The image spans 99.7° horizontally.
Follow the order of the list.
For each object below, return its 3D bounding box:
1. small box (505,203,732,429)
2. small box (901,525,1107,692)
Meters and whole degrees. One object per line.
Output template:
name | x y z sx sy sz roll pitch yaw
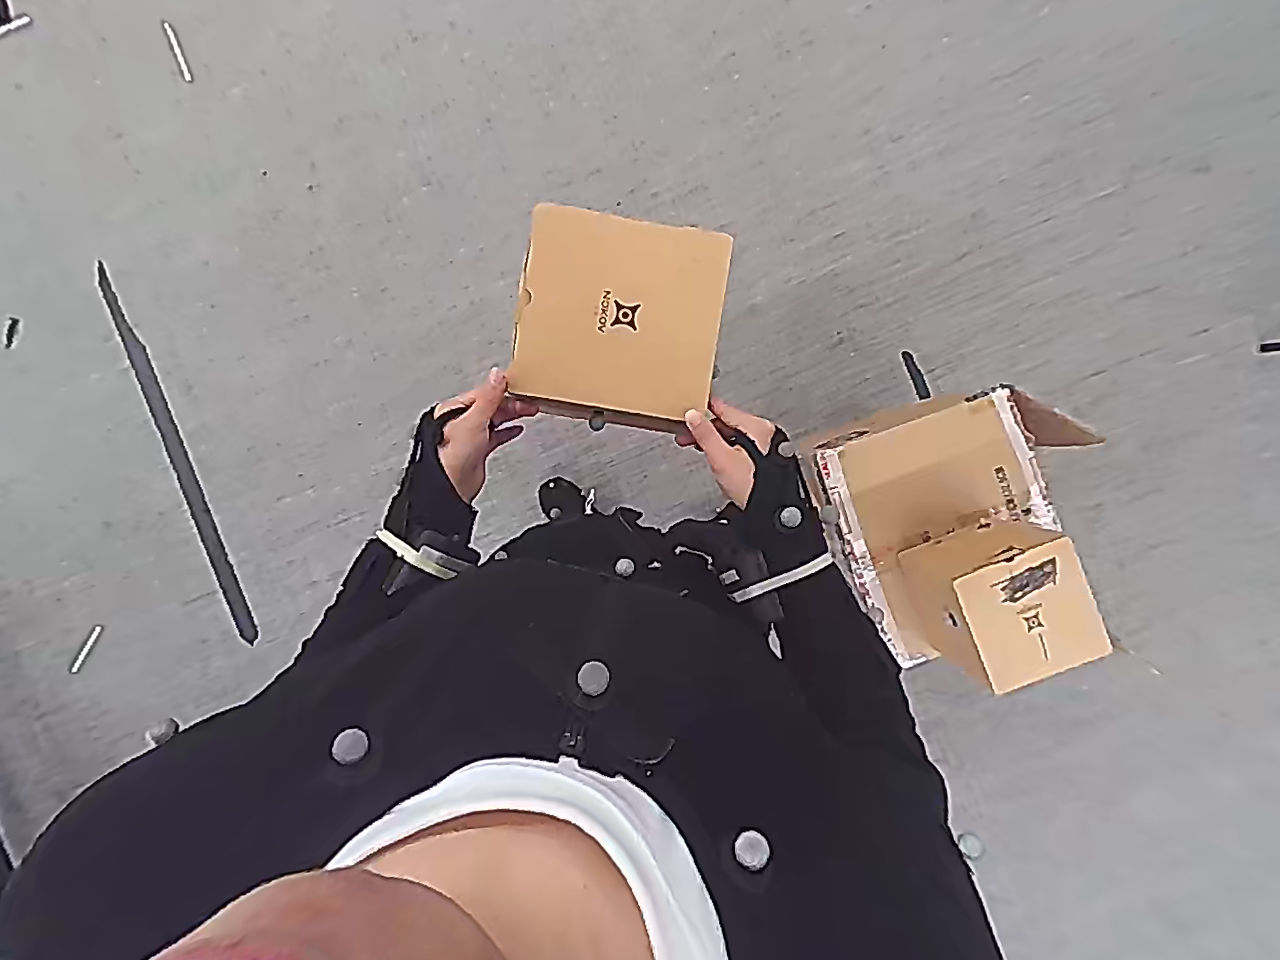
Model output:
small box | -0.019 -0.146 0.544 0.179 0.176 0.168 9 92 0
small box | 0.523 0.175 0.805 0.168 0.176 0.179 -22 93 4
